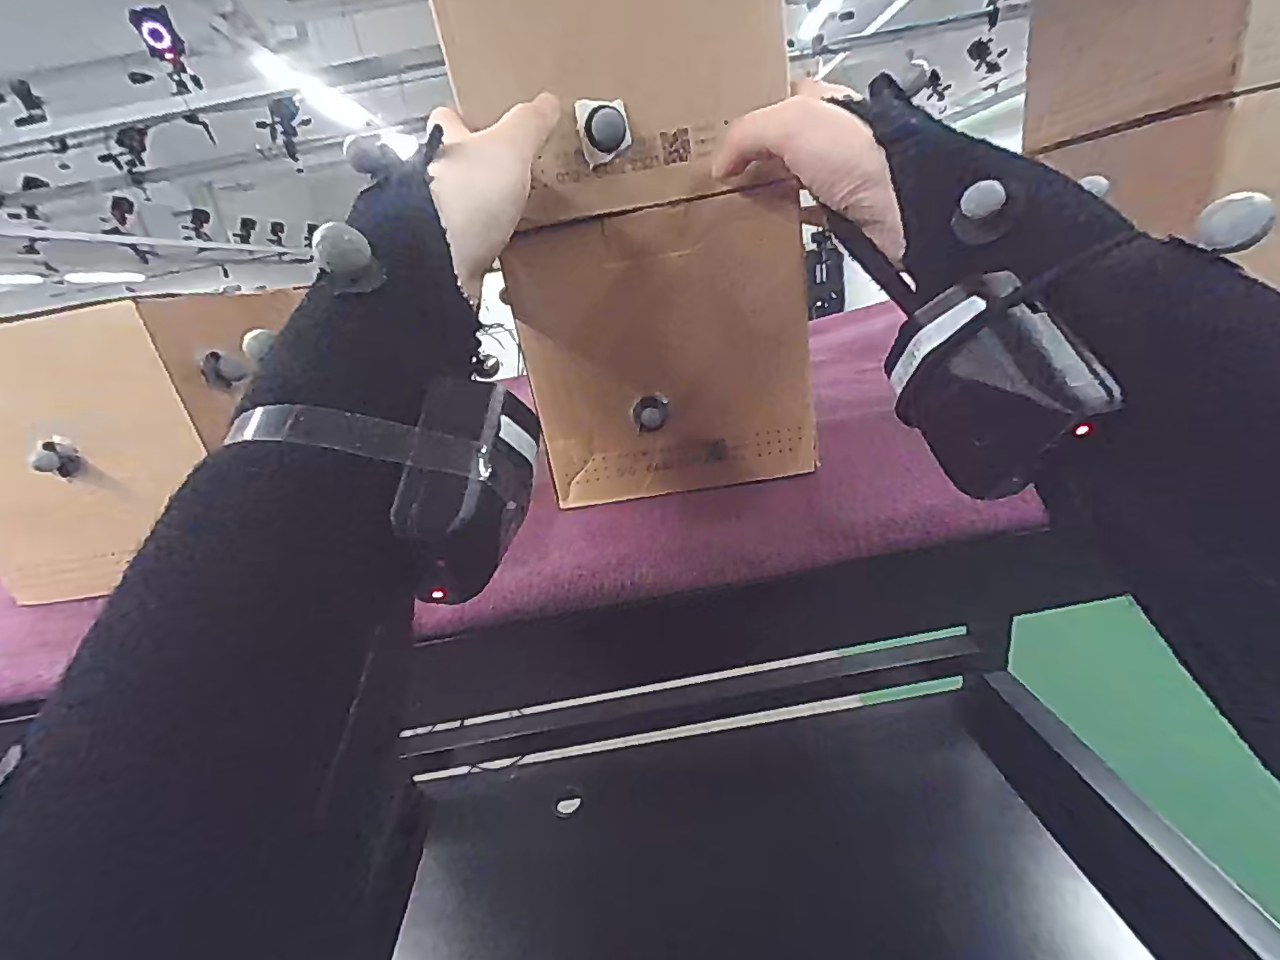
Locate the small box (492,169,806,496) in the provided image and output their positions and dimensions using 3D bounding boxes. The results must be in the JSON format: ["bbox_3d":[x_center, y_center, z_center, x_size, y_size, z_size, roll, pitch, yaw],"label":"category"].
[{"bbox_3d":[0.015,-0.102,0.390,0.168,0.176,0.179,-9,21,5],"label":"small box"}]

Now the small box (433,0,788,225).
[{"bbox_3d":[-0.020,-0.249,0.329,0.168,0.176,0.179,-12,22,1],"label":"small box"}]

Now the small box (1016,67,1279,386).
[{"bbox_3d":[0.394,-0.172,0.373,0.168,0.176,0.179,-9,23,7],"label":"small box"}]

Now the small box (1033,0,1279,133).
[{"bbox_3d":[0.365,-0.322,0.312,0.168,0.176,0.179,-10,22,6],"label":"small box"}]
